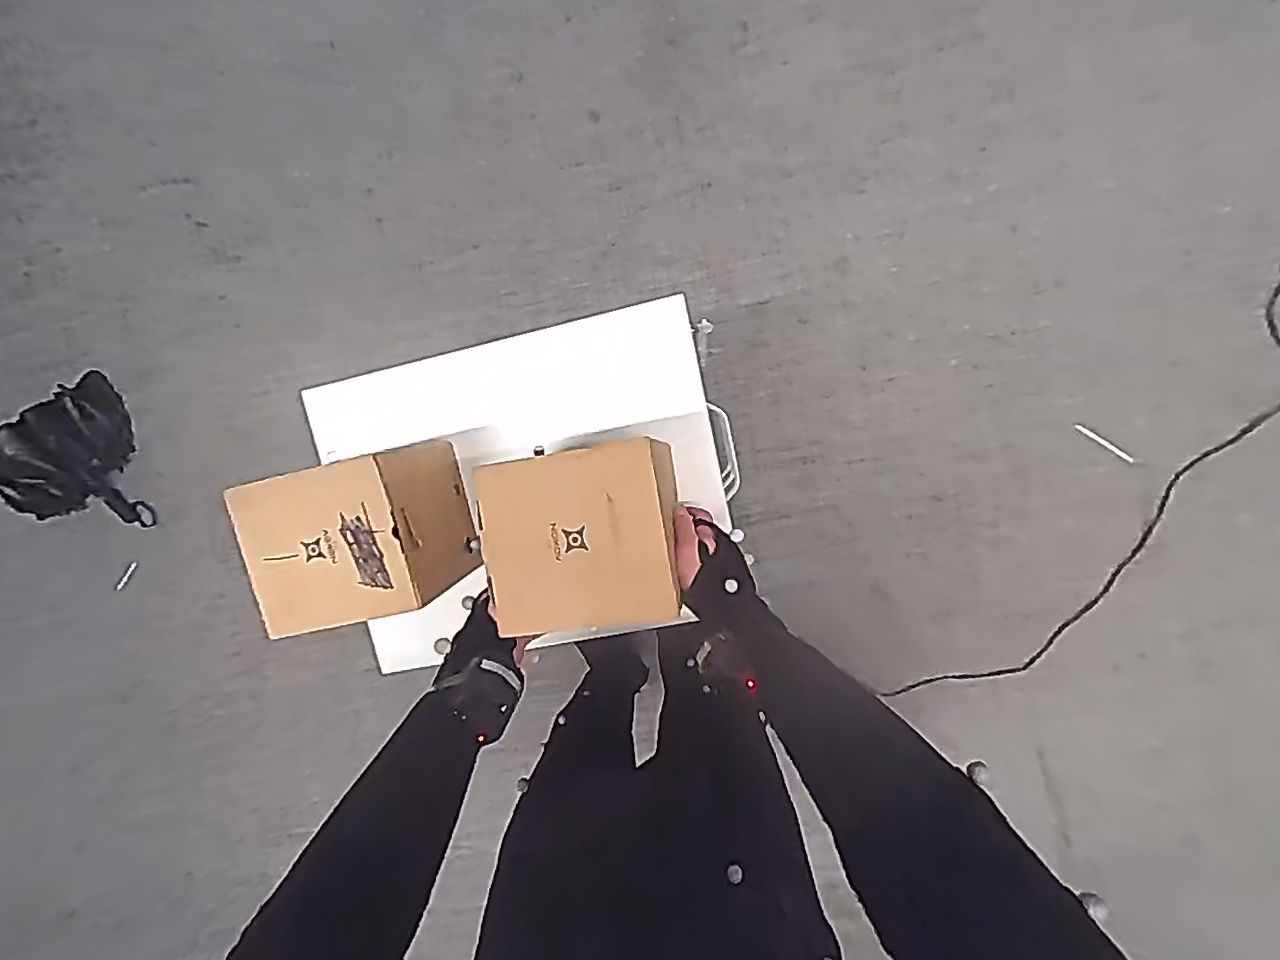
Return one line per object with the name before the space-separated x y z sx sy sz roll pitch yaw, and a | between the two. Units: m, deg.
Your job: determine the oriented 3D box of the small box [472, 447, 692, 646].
small box | -0.048 0.063 0.571 0.179 0.176 0.168 -10 90 10
